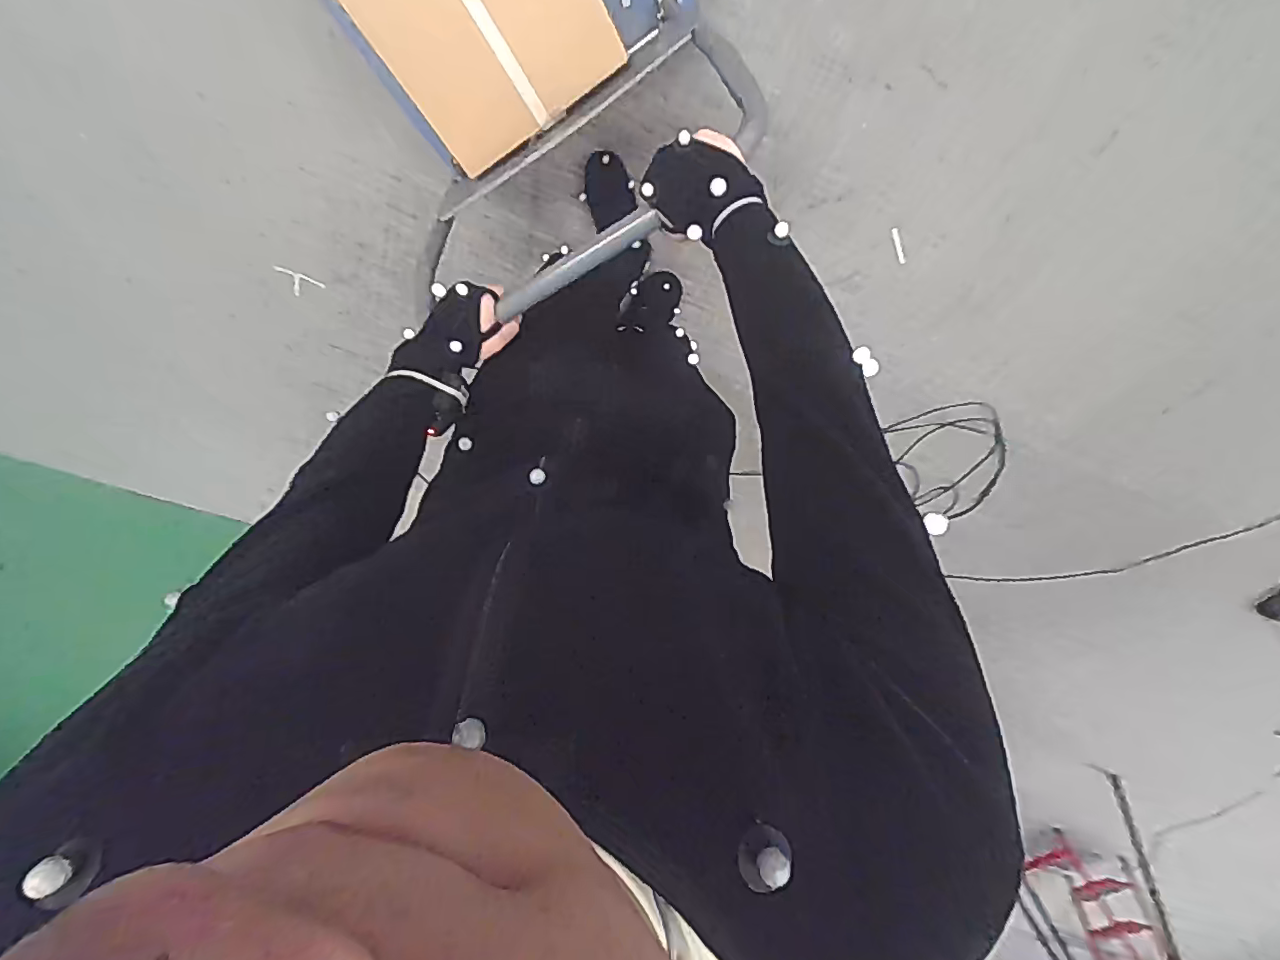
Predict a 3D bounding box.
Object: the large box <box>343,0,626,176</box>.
[{"bbox_3d":[-0.252,-0.793,0.858,0.320,0.320,0.408,-25,130,19],"label":"large box"}]
